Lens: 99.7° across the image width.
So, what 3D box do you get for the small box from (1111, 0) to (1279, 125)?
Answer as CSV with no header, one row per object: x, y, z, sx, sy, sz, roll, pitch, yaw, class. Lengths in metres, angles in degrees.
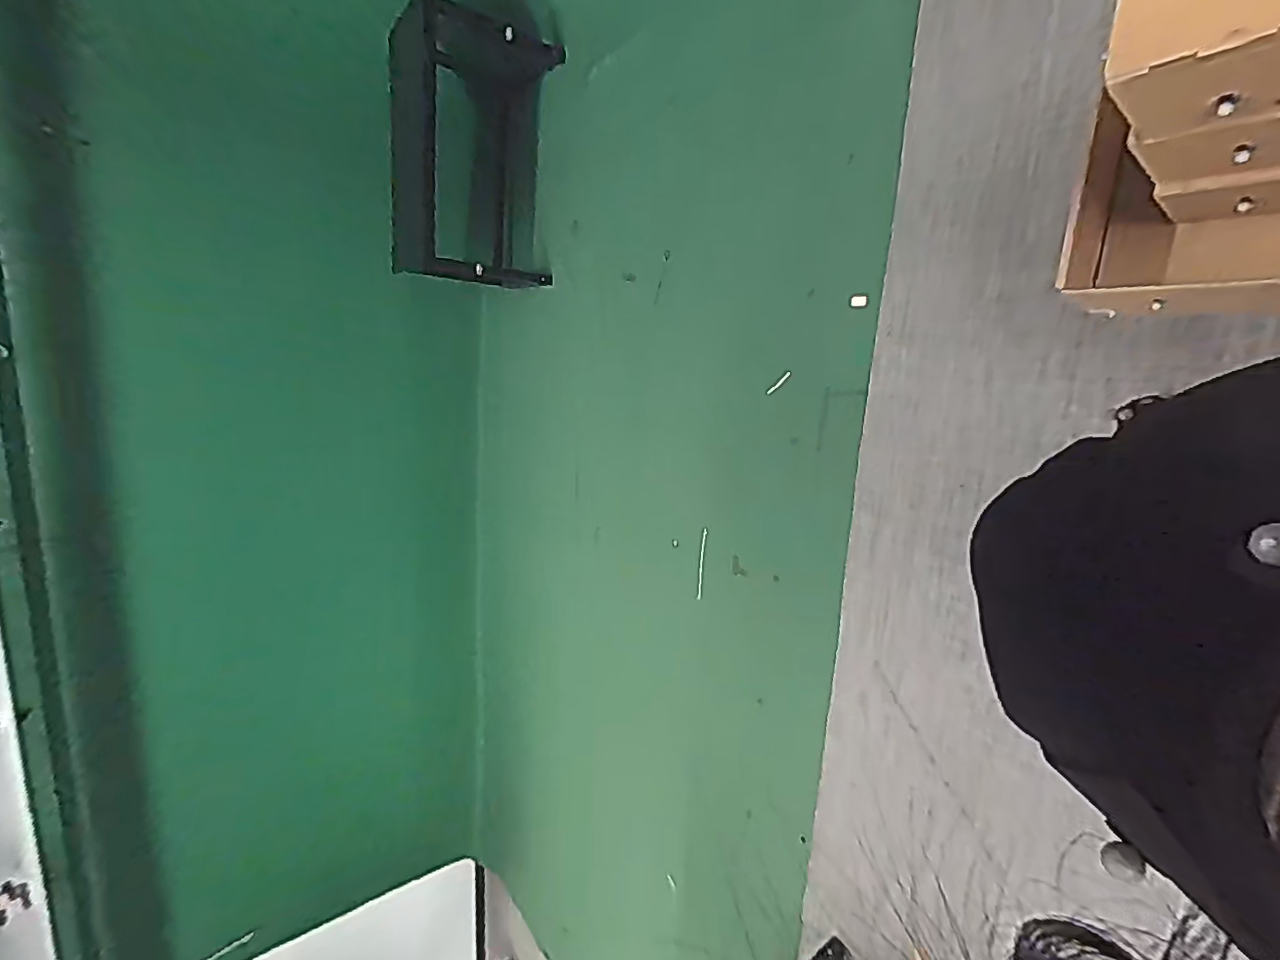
0.538,-0.444,0.456,0.168,0.176,0.179,15,106,51,small box
